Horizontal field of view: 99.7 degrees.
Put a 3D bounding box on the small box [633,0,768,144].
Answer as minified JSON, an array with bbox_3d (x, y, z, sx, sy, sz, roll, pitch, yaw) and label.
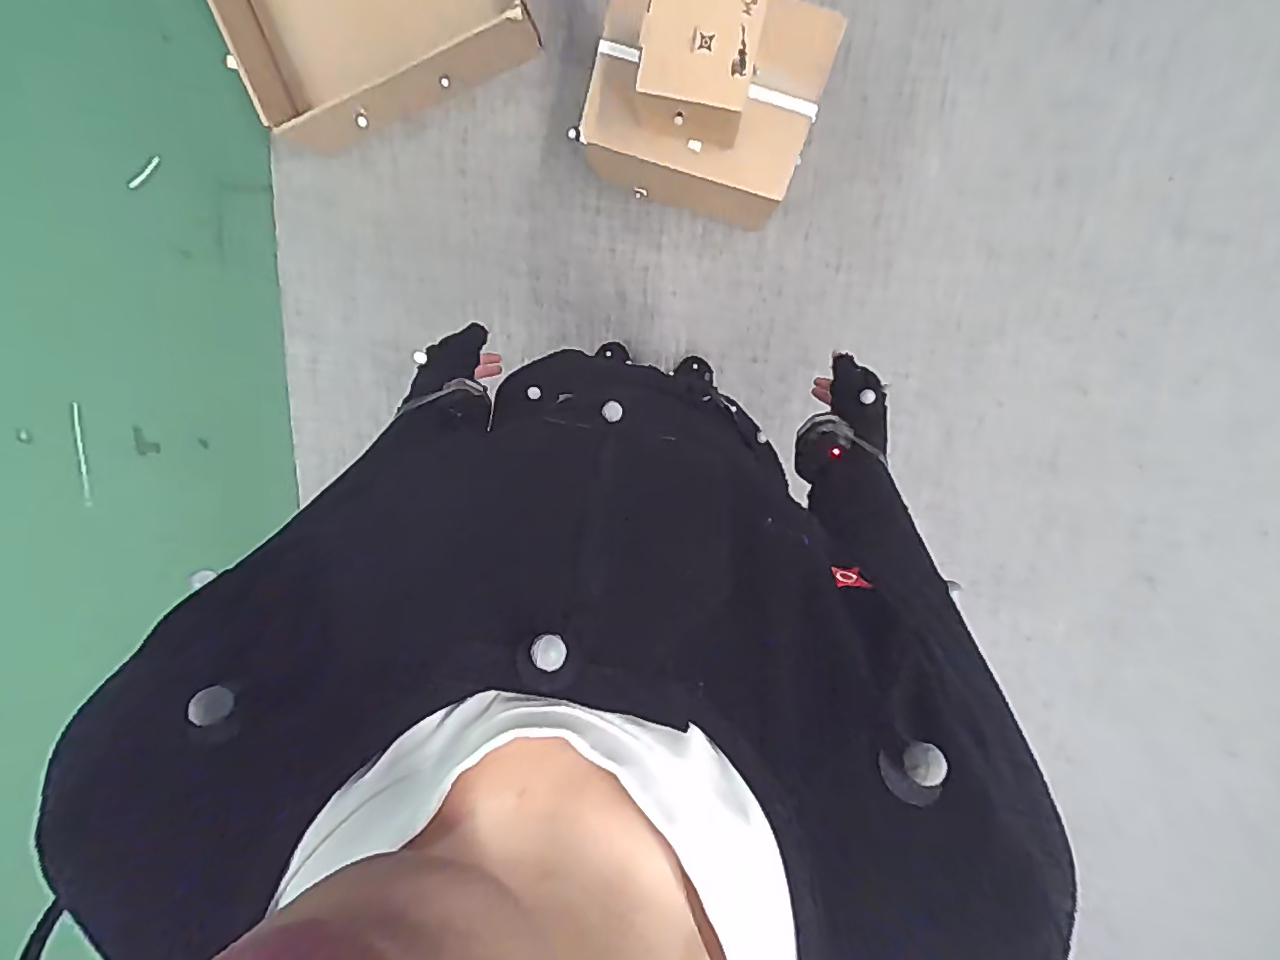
[{"bbox_3d":[0.097,-0.681,0.889,0.179,0.176,0.168,12,106,2],"label":"small box"}]
